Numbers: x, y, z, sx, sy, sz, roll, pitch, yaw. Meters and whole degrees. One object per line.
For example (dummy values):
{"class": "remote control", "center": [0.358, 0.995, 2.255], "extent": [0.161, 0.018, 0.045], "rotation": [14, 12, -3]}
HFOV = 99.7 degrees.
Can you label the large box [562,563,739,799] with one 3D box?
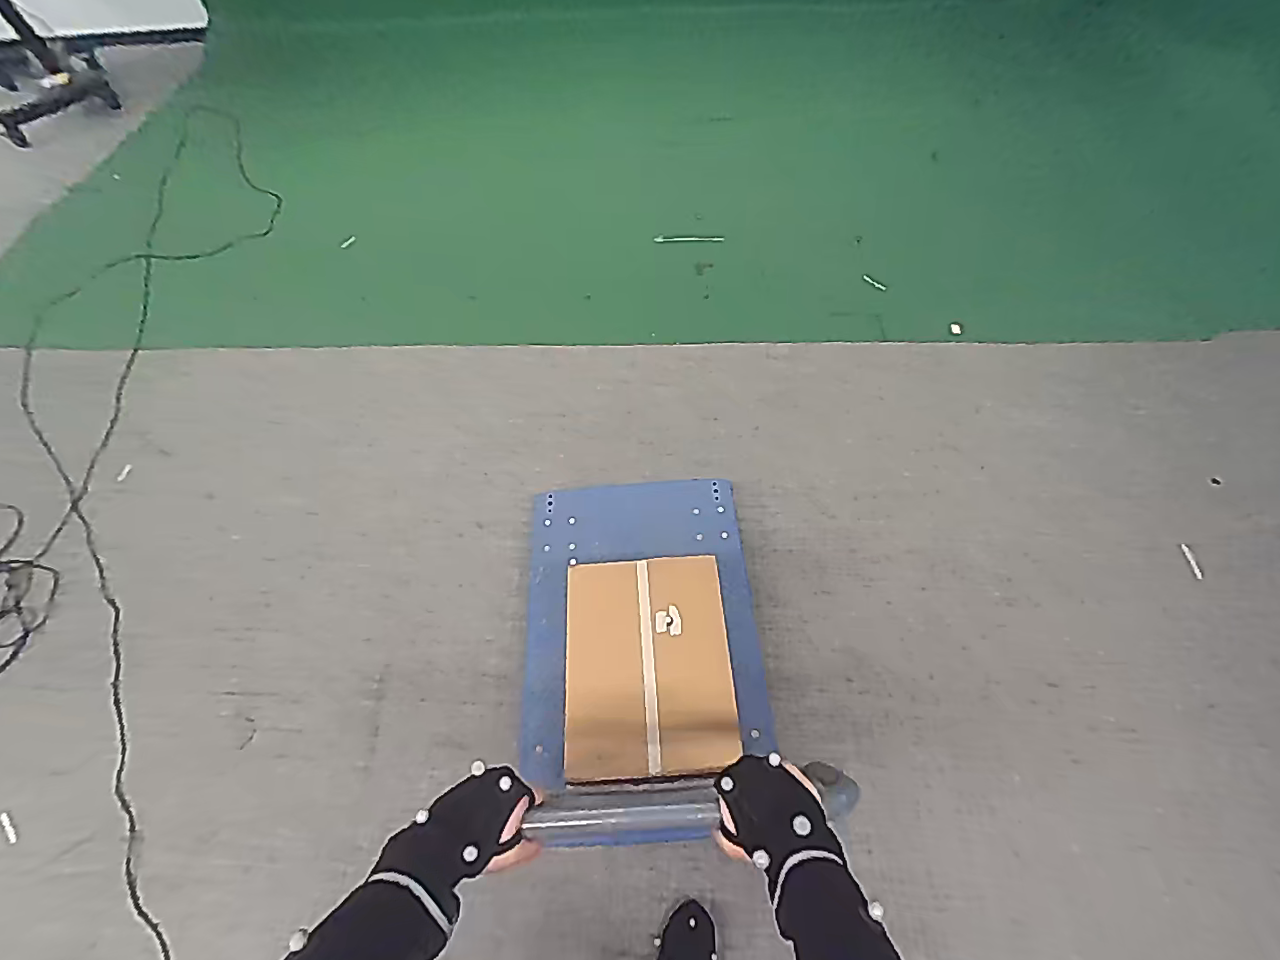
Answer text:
{"class": "large box", "center": [0.013, 0.435, 1.160], "extent": [0.320, 0.320, 0.408], "rotation": [-4, 56, -1]}
